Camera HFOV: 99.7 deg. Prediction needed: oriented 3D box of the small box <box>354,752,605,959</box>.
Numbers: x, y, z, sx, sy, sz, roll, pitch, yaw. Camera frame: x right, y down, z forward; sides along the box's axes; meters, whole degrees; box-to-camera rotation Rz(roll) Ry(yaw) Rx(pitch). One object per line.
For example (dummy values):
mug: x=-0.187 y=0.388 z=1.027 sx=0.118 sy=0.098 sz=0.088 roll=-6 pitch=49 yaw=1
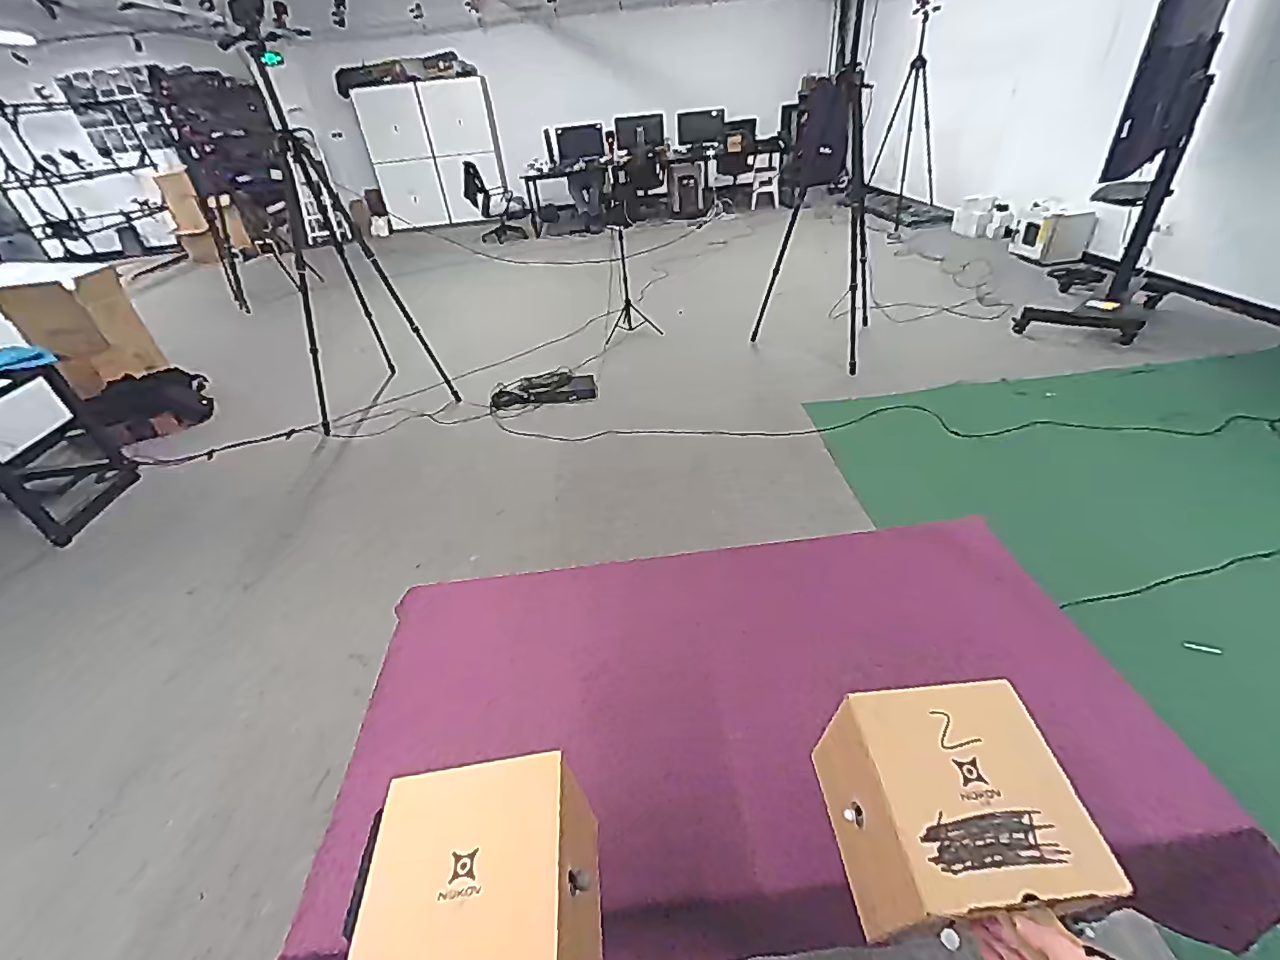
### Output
small box: x=-0.127 y=0.382 z=0.492 sx=0.168 sy=0.176 sz=0.179 roll=-10 pitch=39 yaw=1
